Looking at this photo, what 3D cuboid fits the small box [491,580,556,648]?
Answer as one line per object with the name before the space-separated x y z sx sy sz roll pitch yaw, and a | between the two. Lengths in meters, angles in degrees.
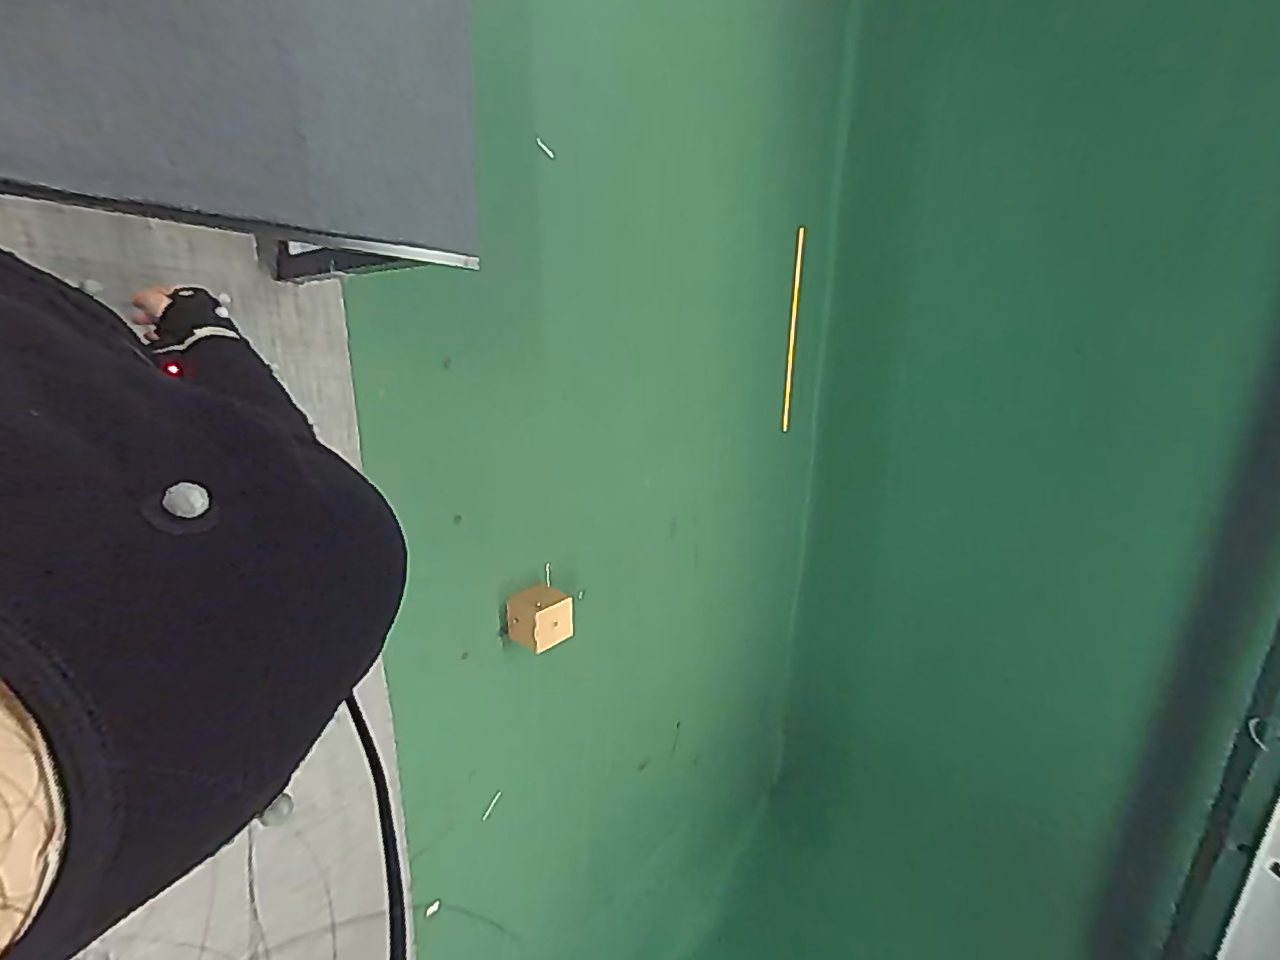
small box | -0.435 0.492 2.021 0.179 0.176 0.168 -17 114 -48
